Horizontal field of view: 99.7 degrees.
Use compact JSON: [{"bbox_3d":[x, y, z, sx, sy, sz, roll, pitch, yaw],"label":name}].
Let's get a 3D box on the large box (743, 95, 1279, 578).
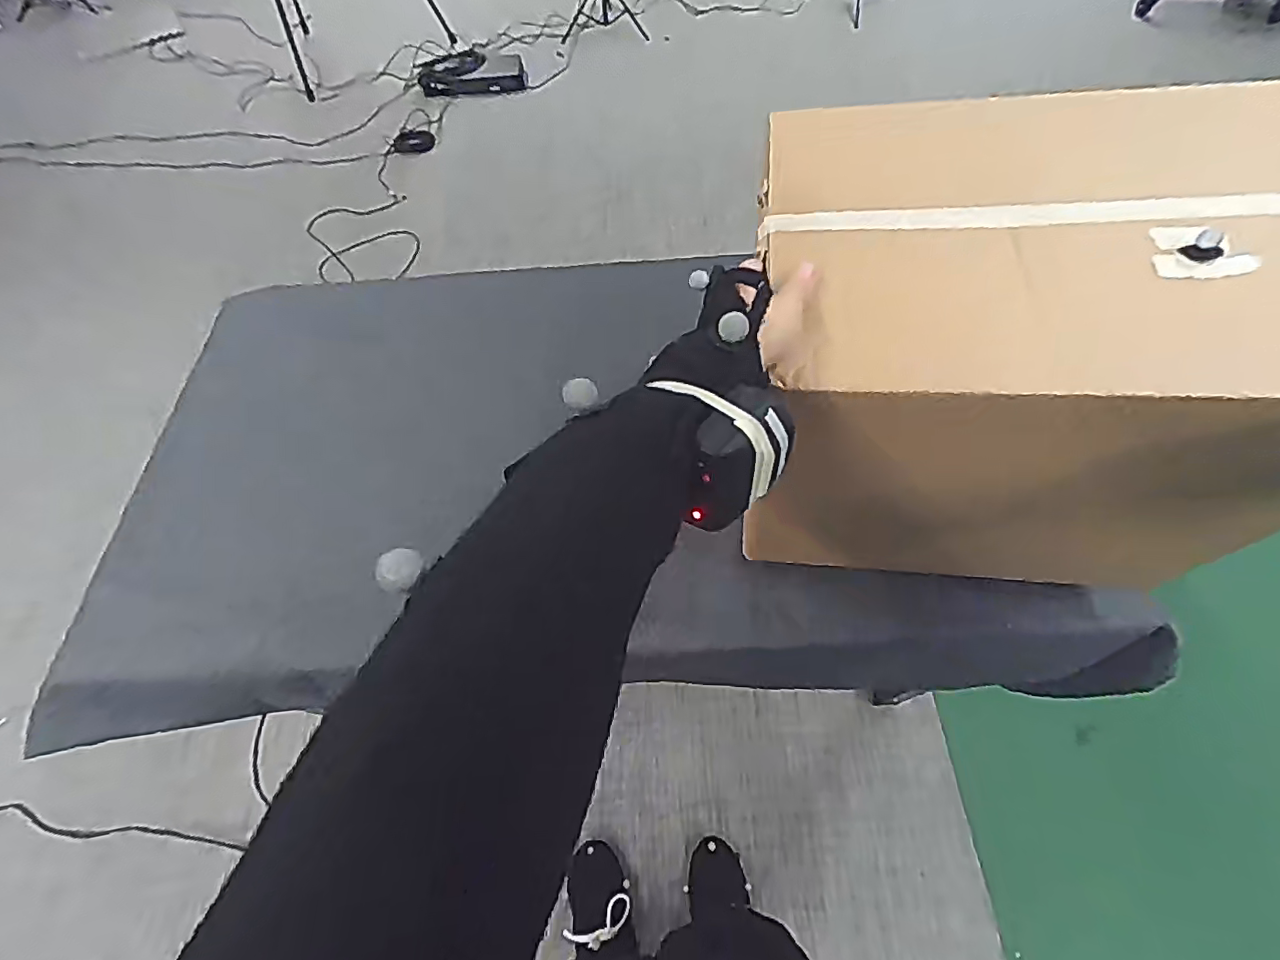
[{"bbox_3d":[0.311,-0.110,0.515,0.408,0.320,0.320,3,62,8],"label":"large box"}]
